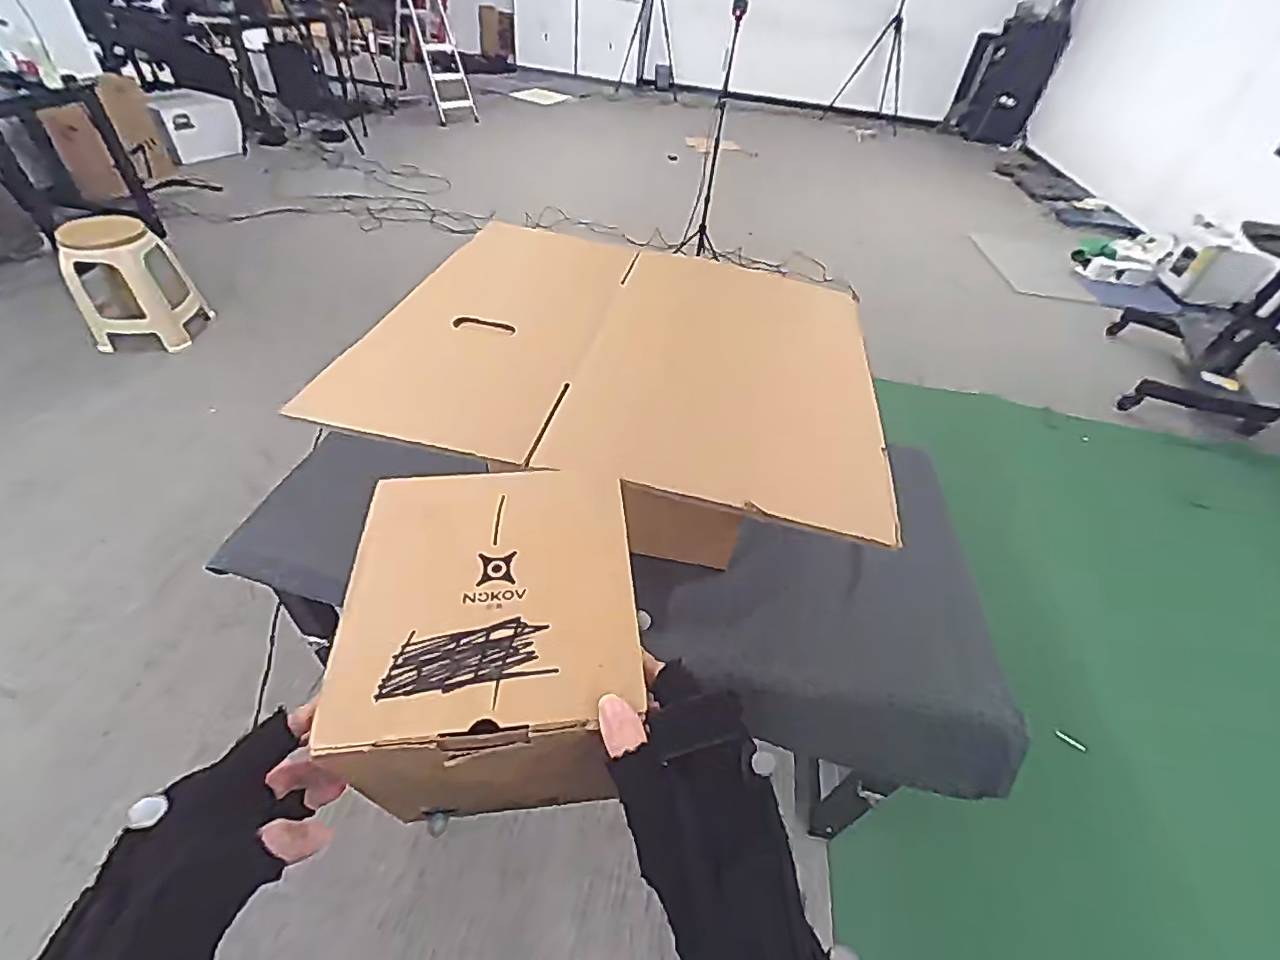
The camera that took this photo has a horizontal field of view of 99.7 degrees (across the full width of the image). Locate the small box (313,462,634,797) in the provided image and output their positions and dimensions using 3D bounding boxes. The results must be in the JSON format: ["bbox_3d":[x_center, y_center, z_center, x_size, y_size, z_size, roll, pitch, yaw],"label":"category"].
[{"bbox_3d":[-0.092,0.110,0.387,0.168,0.176,0.179,-4,48,-6],"label":"small box"}]
